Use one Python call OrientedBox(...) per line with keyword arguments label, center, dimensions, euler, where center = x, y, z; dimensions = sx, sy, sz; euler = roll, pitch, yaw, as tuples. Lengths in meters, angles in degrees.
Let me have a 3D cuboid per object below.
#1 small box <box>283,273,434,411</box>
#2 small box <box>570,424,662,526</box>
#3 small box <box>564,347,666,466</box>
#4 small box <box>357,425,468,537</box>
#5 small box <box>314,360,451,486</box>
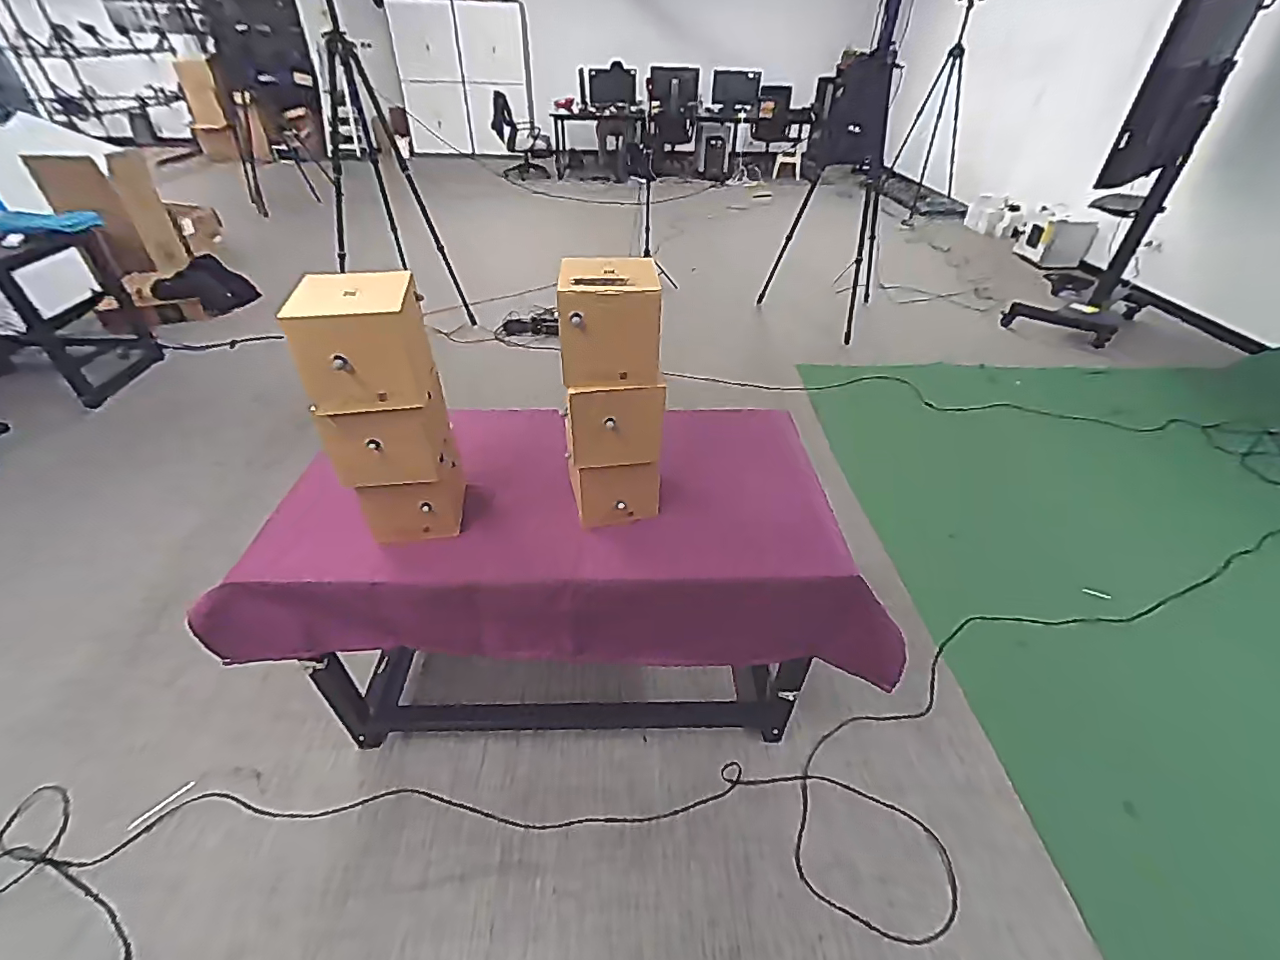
OrientedBox(label="small box", center=(-0.444, -0.223, 0.887), dimensions=(0.168, 0.176, 0.179), euler=(-6, 40, -11))
OrientedBox(label="small box", center=(-0.057, -0.025, 1.164), dimensions=(0.168, 0.176, 0.179), euler=(-9, 40, -11))
OrientedBox(label="small box", center=(-0.050, -0.140, 1.045), dimensions=(0.179, 0.176, 0.168), euler=(-5, 40, -7))
OrientedBox(label="small box", center=(-0.459, 0.006, 1.121), dimensions=(0.168, 0.176, 0.179), euler=(-4, 39, -7))
OrientedBox(label="small box", center=(-0.457, -0.105, 0.998), dimensions=(0.179, 0.176, 0.168), euler=(-4, 40, -7))
